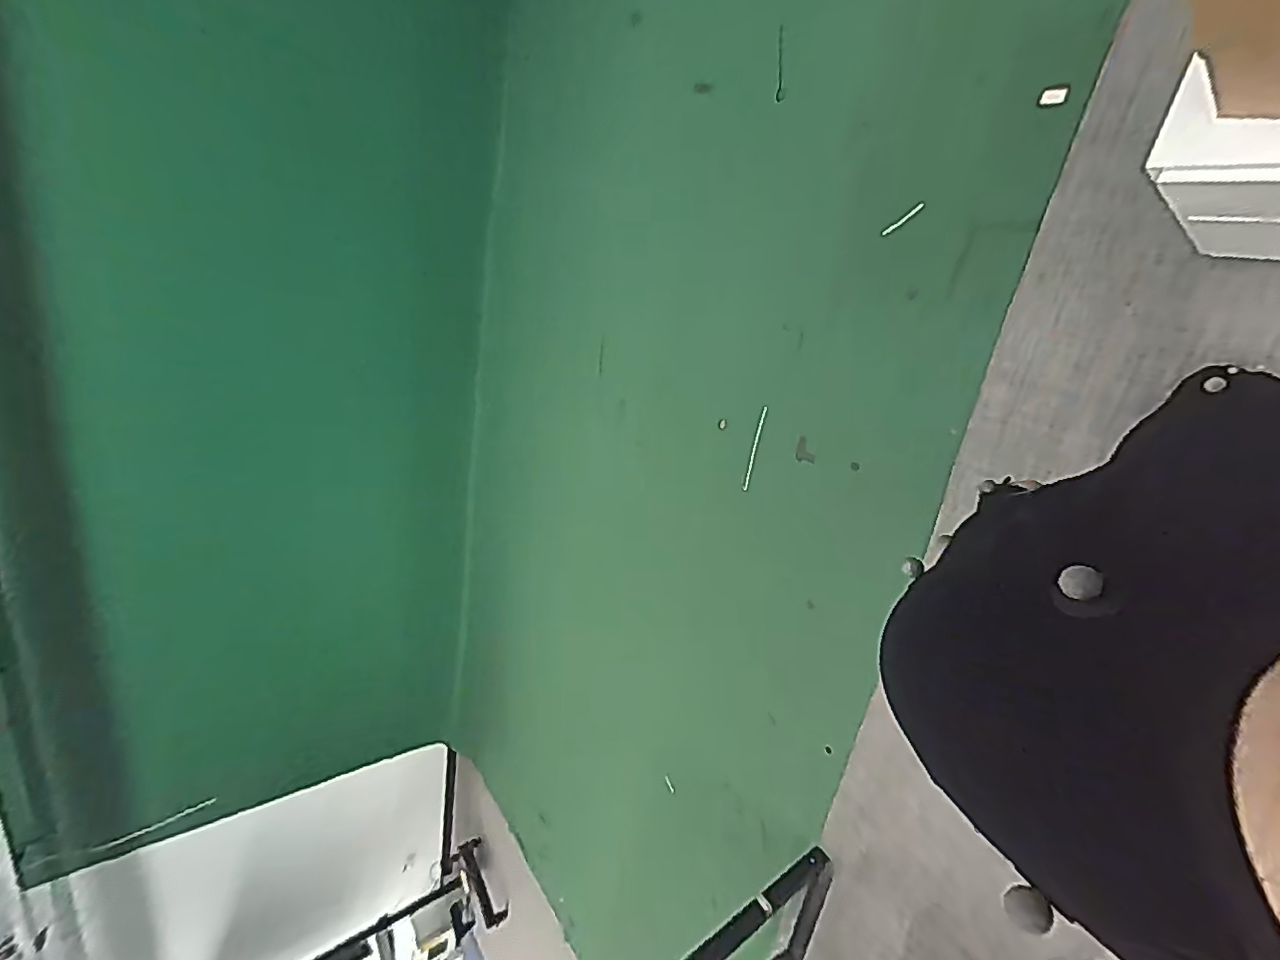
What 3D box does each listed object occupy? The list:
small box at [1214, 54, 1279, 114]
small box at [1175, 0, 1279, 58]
[{"bbox_3d":[0.684,-0.458,0.496,0.179,0.176,0.168,38,121,41],"label":"small box"},{"bbox_3d":[0.556,-0.446,0.398,0.179,0.176,0.168,38,120,43],"label":"small box"}]
